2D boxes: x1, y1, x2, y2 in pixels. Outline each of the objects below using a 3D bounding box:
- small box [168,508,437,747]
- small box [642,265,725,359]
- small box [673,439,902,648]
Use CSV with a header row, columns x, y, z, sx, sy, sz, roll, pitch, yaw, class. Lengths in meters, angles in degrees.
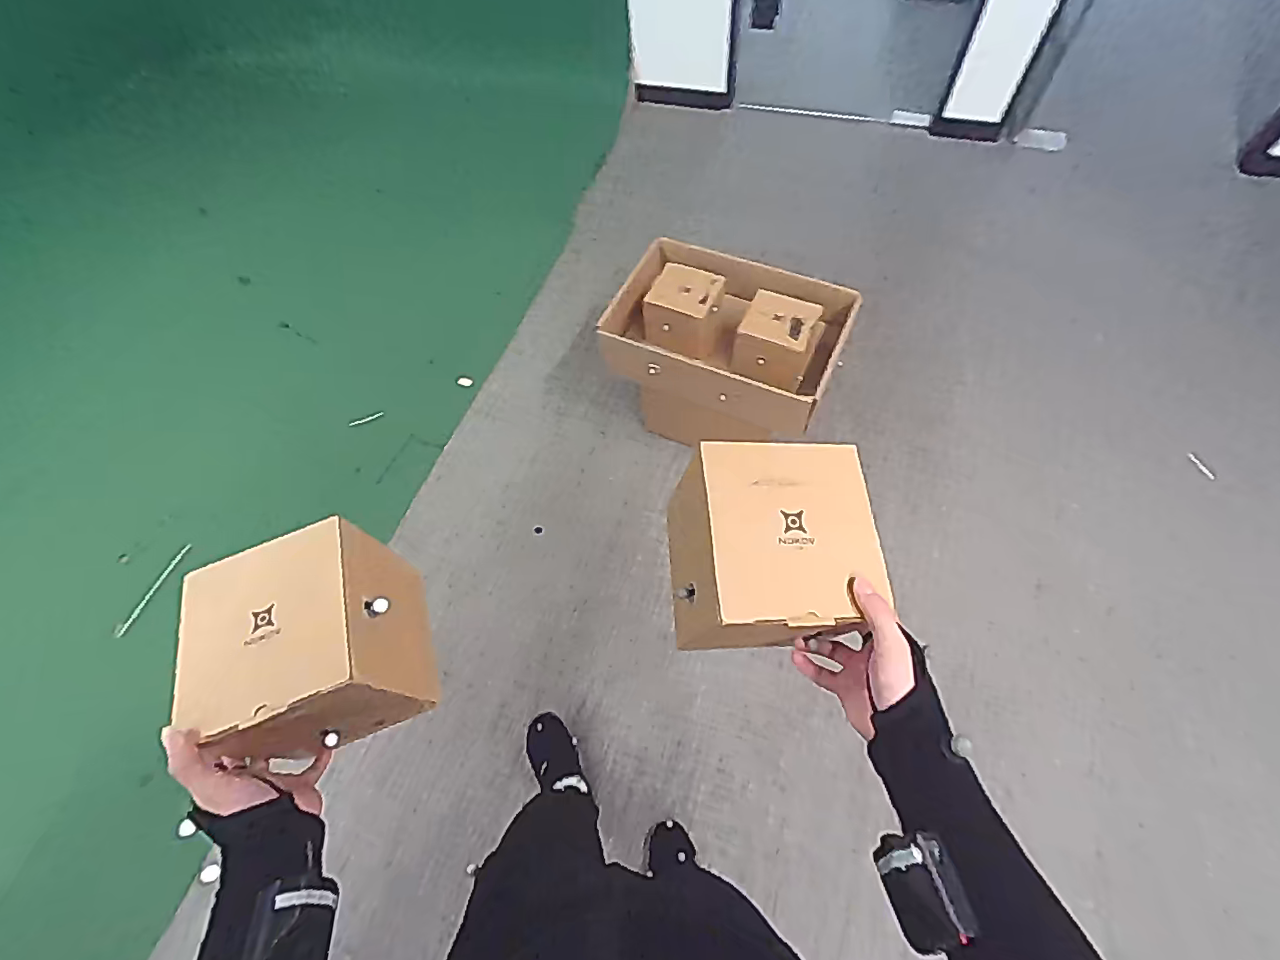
x,y,z,sx,sy,sz,roll,pitch,yaw,class
-0.335,0.162,0.568,0.168,0.176,0.179,-20,61,-2,small box
0.124,-0.467,1.520,0.179,0.176,0.168,22,66,16,small box
0.133,0.077,0.561,0.168,0.176,0.179,3,64,-9,small box
